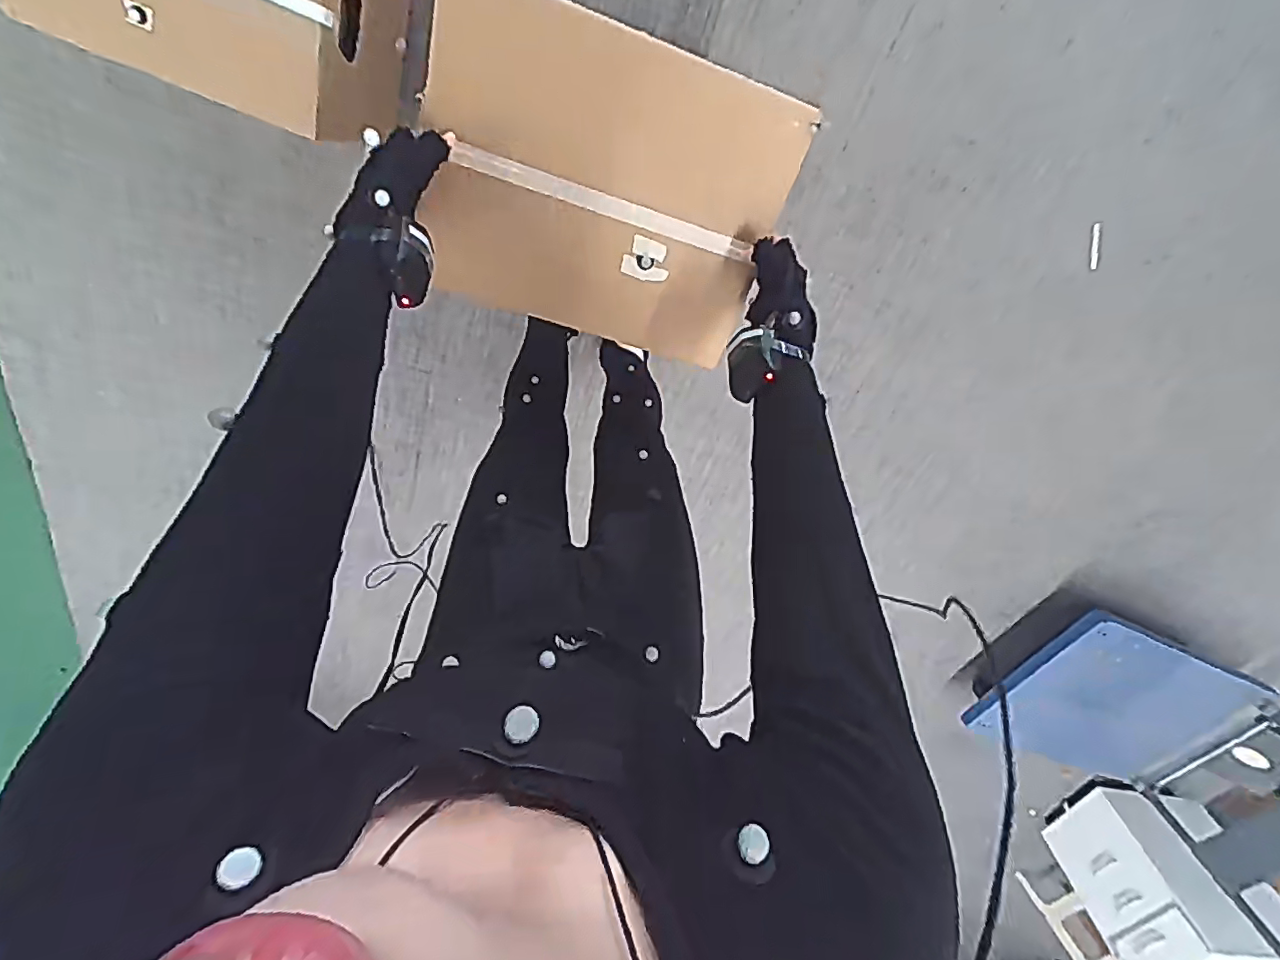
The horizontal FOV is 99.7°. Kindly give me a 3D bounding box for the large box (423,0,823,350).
[{"bbox_3d":[-0.043,-0.425,0.747,0.408,0.320,0.320,14,123,-13],"label":"large box"}]
